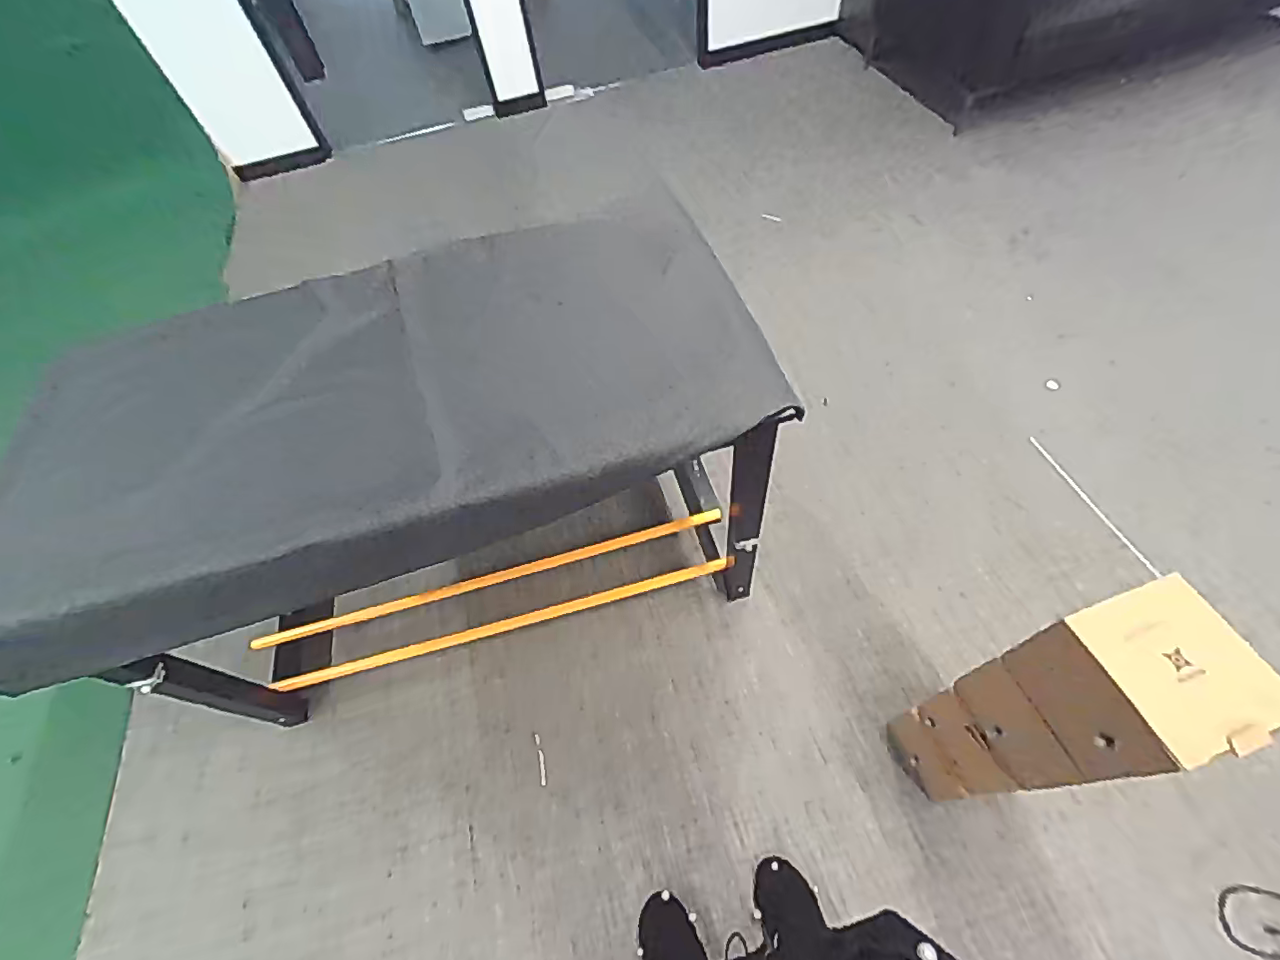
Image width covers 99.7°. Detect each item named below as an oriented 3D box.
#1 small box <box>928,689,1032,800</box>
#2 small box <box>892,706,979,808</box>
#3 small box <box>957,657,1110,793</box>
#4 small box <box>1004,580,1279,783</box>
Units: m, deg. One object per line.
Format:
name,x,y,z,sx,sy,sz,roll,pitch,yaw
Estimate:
small box,0.635,0.437,0.941,0.179,0.176,0.168,-19,57,-7
small box,0.640,0.530,1.077,0.179,0.176,0.168,-21,56,-6
small box,0.623,0.345,0.807,0.168,0.176,0.179,-19,57,-6
small box,0.610,0.257,0.670,0.168,0.176,0.179,-19,56,-6
